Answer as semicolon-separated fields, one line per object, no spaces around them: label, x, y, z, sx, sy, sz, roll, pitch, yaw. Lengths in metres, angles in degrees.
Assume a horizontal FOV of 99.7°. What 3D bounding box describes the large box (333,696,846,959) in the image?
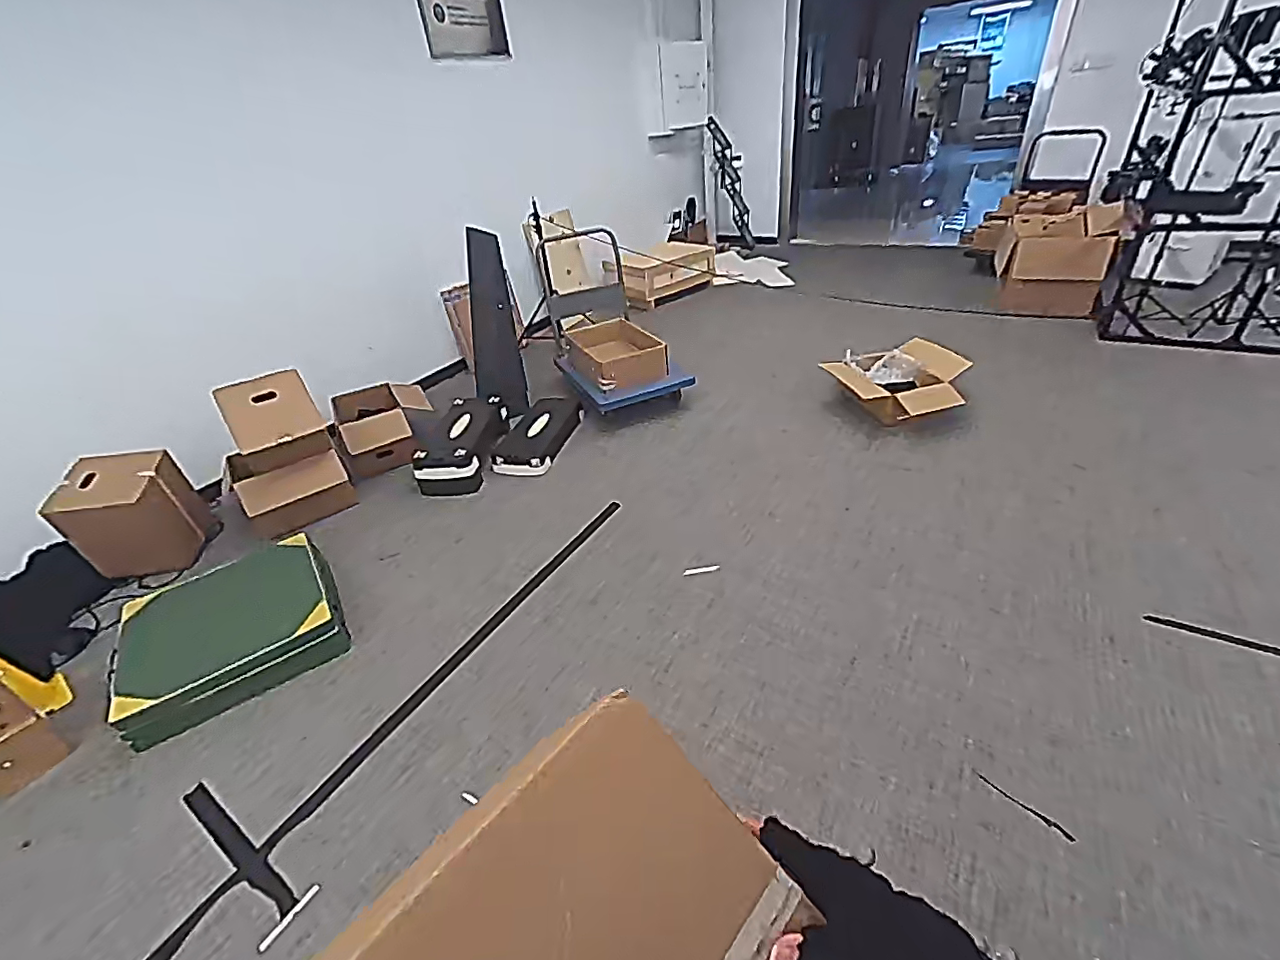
large box;-0.090;0.429;0.356;0.320;0.320;0.408;47;56;10
